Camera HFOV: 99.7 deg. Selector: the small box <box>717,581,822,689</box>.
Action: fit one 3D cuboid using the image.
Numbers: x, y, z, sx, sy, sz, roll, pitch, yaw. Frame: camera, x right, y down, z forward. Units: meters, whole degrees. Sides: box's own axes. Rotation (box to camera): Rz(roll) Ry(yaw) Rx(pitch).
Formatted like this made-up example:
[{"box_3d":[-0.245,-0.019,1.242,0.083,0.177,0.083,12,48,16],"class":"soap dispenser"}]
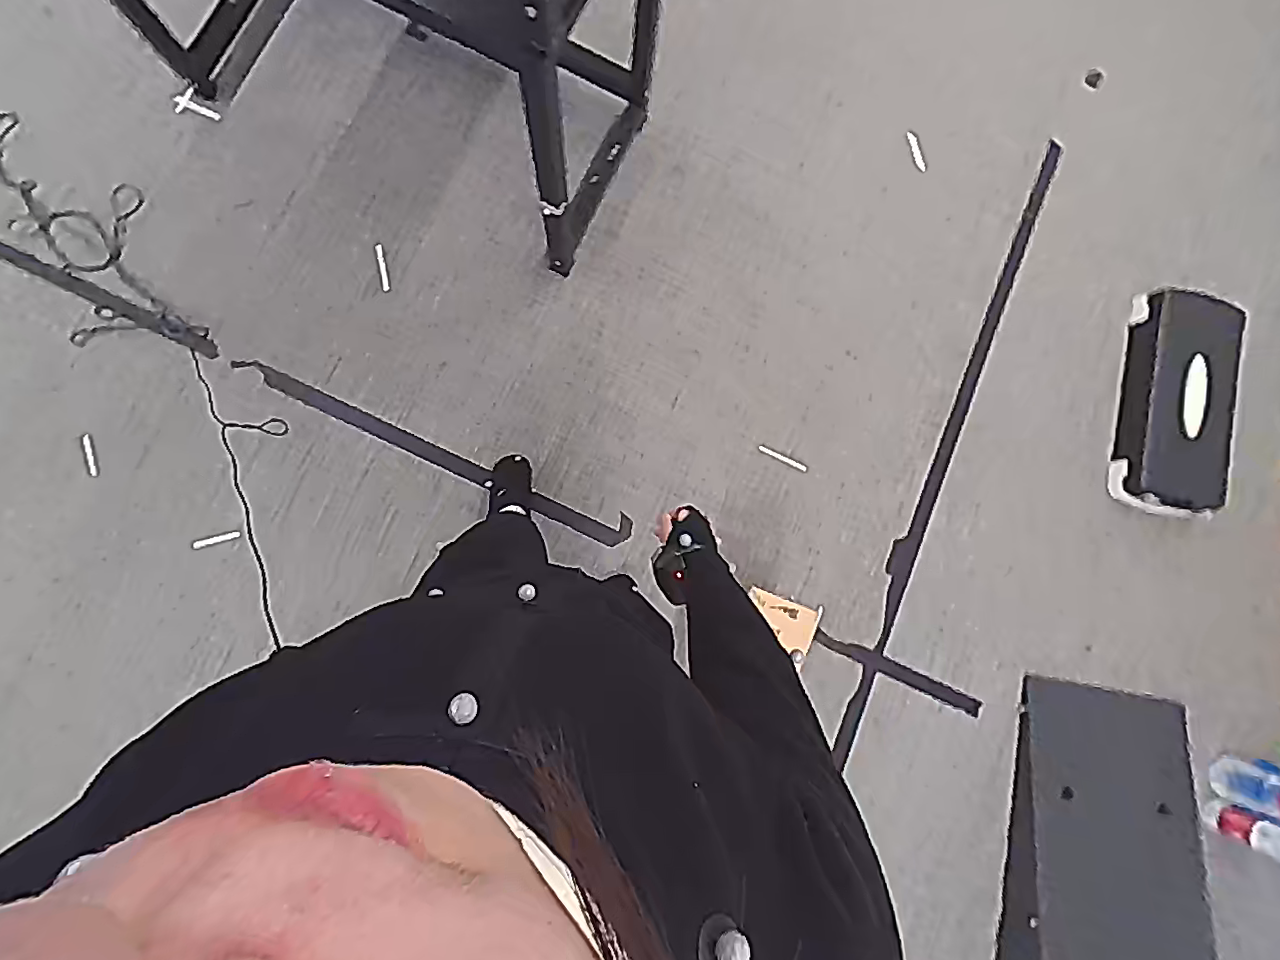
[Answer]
[{"box_3d":[0.291,0.352,1.258,0.168,0.176,0.179,22,84,-2],"class":"small box"}]
